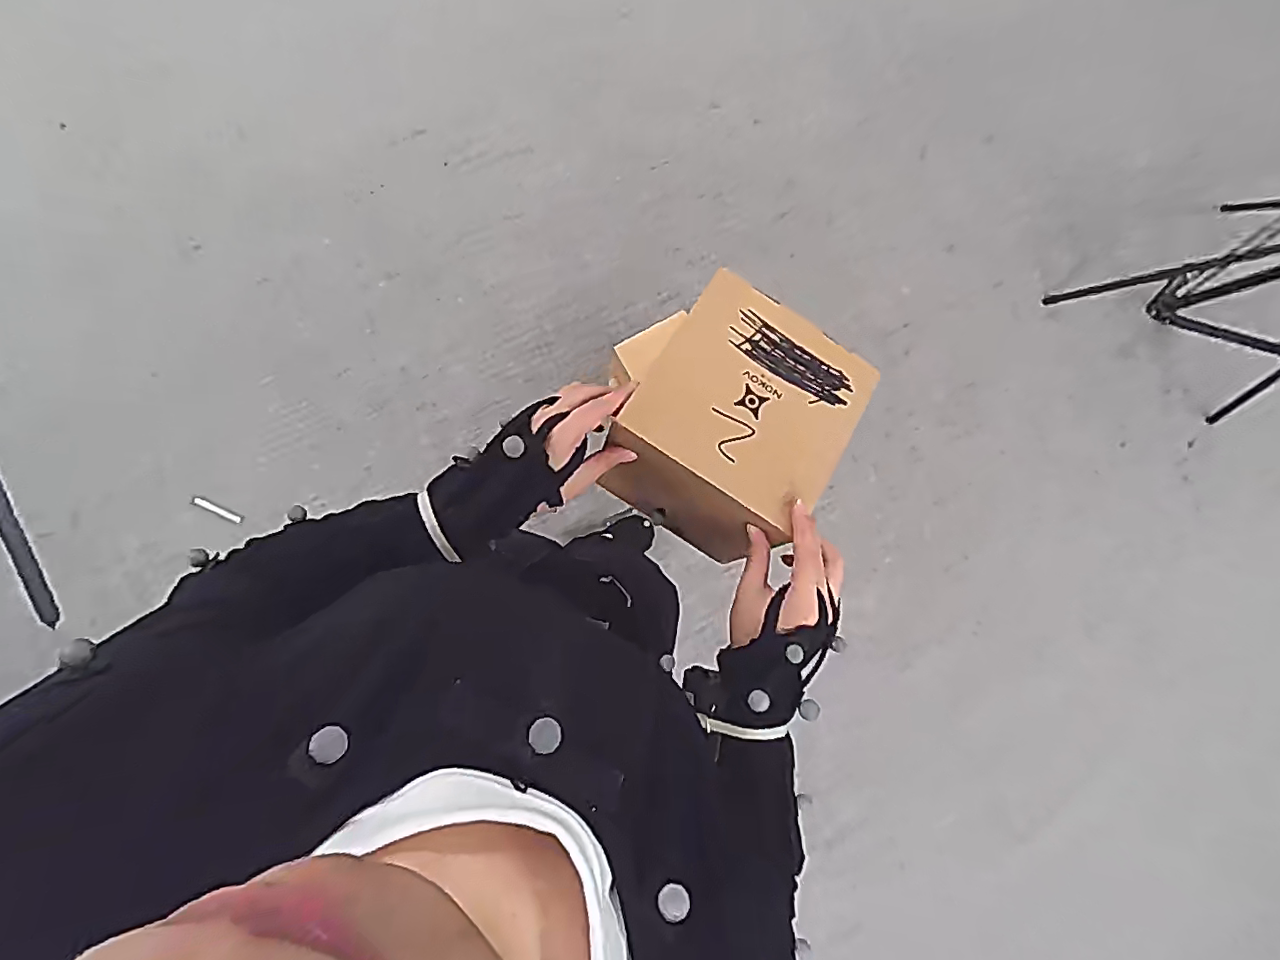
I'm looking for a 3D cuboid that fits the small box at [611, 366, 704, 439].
[{"bbox_3d":[0.037,-0.210,1.325,0.179,0.176,0.168,-22,91,-5],"label":"small box"}]

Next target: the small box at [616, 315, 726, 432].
[{"bbox_3d":[0.056,-0.219,1.163,0.168,0.176,0.179,-29,92,-5],"label":"small box"}]
